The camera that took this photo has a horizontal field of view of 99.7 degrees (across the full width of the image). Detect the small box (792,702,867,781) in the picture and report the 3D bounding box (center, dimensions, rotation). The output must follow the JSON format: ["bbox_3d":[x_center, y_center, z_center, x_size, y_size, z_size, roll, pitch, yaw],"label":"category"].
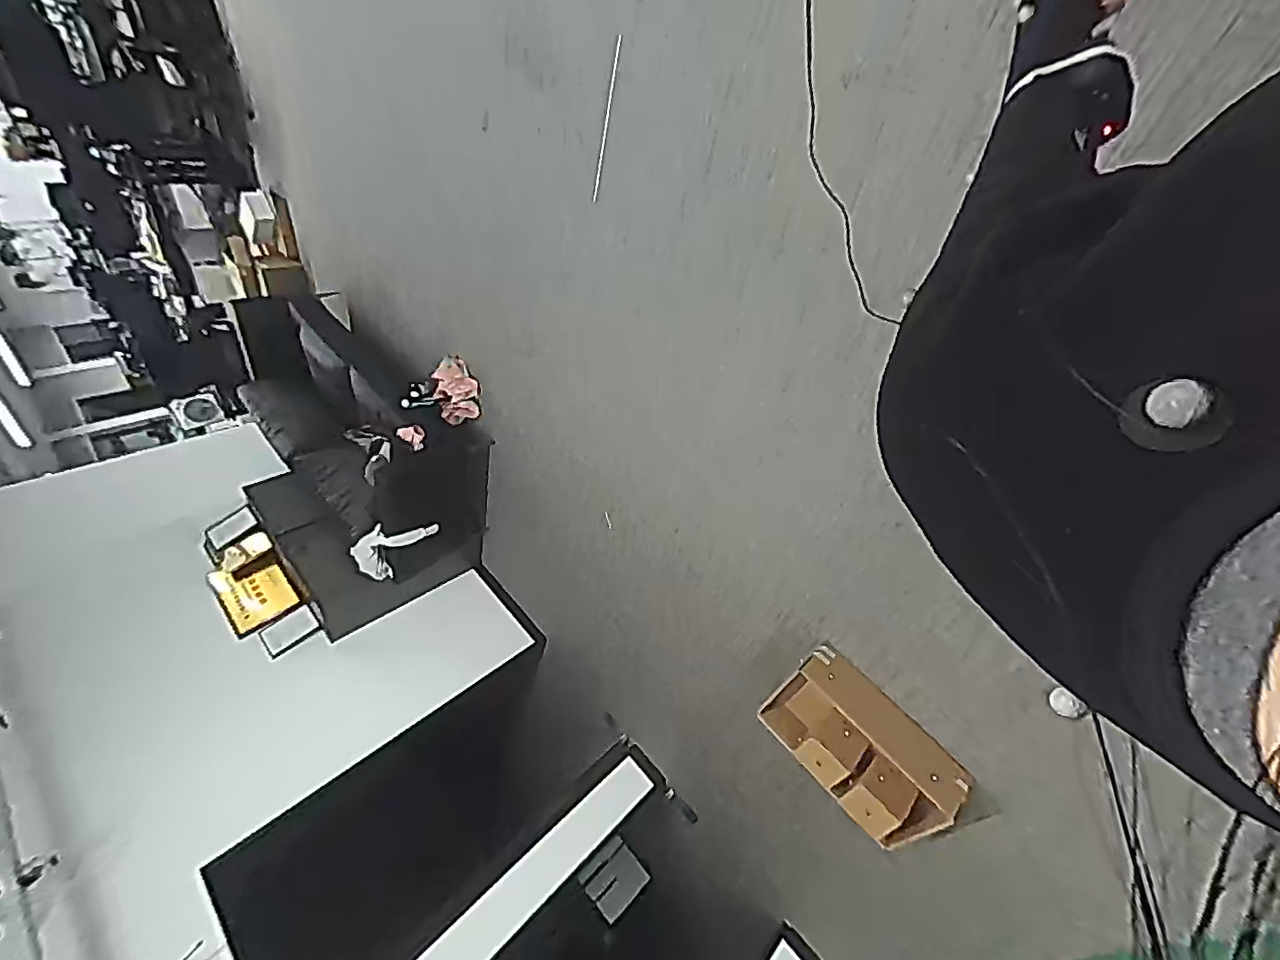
[{"bbox_3d":[0.704,0.964,1.999,0.168,0.176,0.179,42,137,22],"label":"small box"}]
